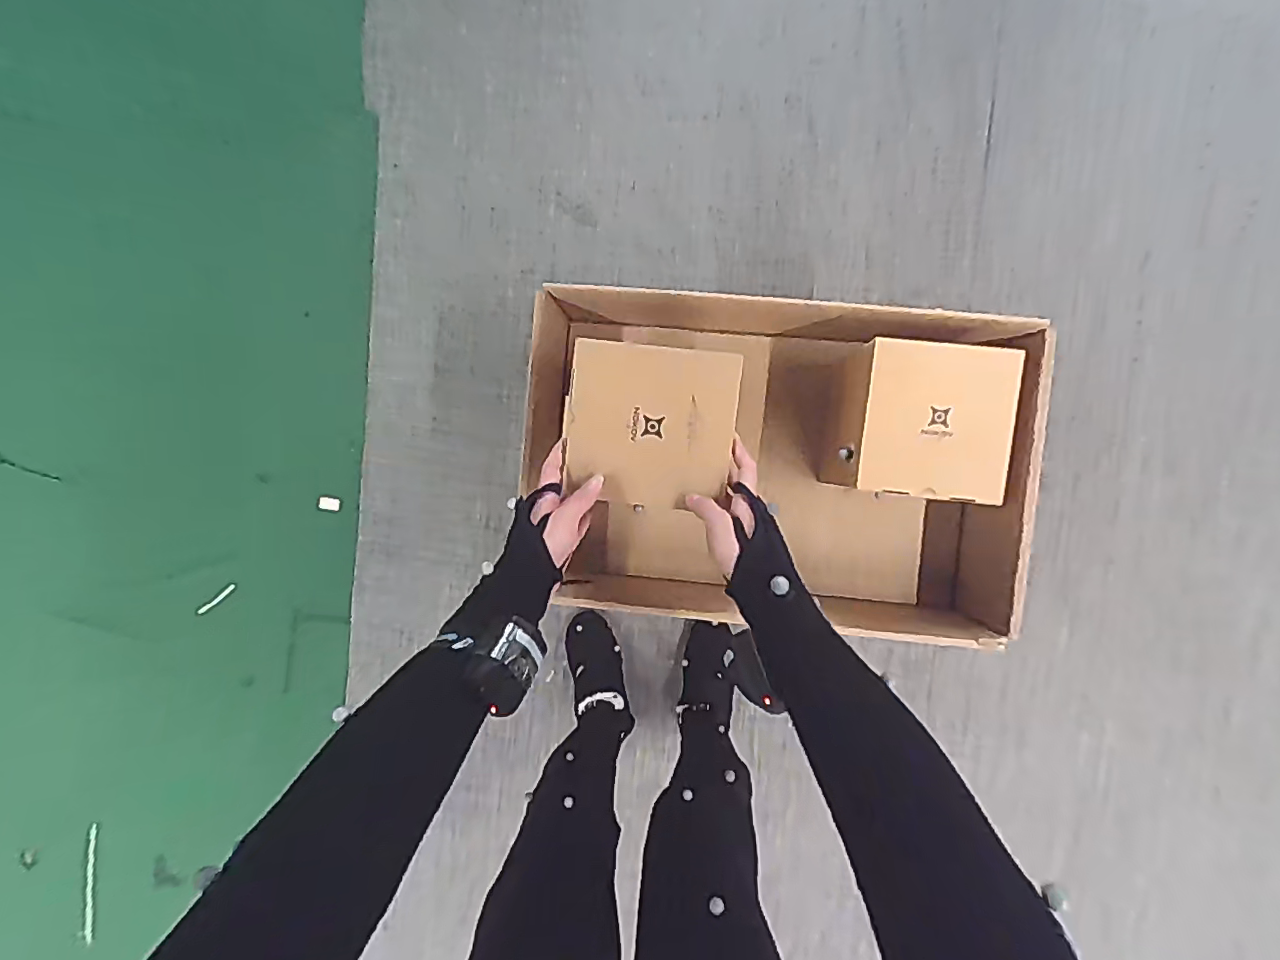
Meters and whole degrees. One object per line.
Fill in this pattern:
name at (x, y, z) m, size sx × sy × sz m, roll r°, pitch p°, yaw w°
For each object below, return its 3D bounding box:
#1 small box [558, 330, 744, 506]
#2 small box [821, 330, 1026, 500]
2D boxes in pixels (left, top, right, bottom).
small box at (0.017, -0.069, 0.636) m, size 0.179 × 0.176 × 0.168 m, roll 8°, pitch 95°, yaw 5°
small box at (0.340, -0.078, 0.685) m, size 0.168 × 0.176 × 0.179 m, roll 7°, pitch 95°, yaw 3°
